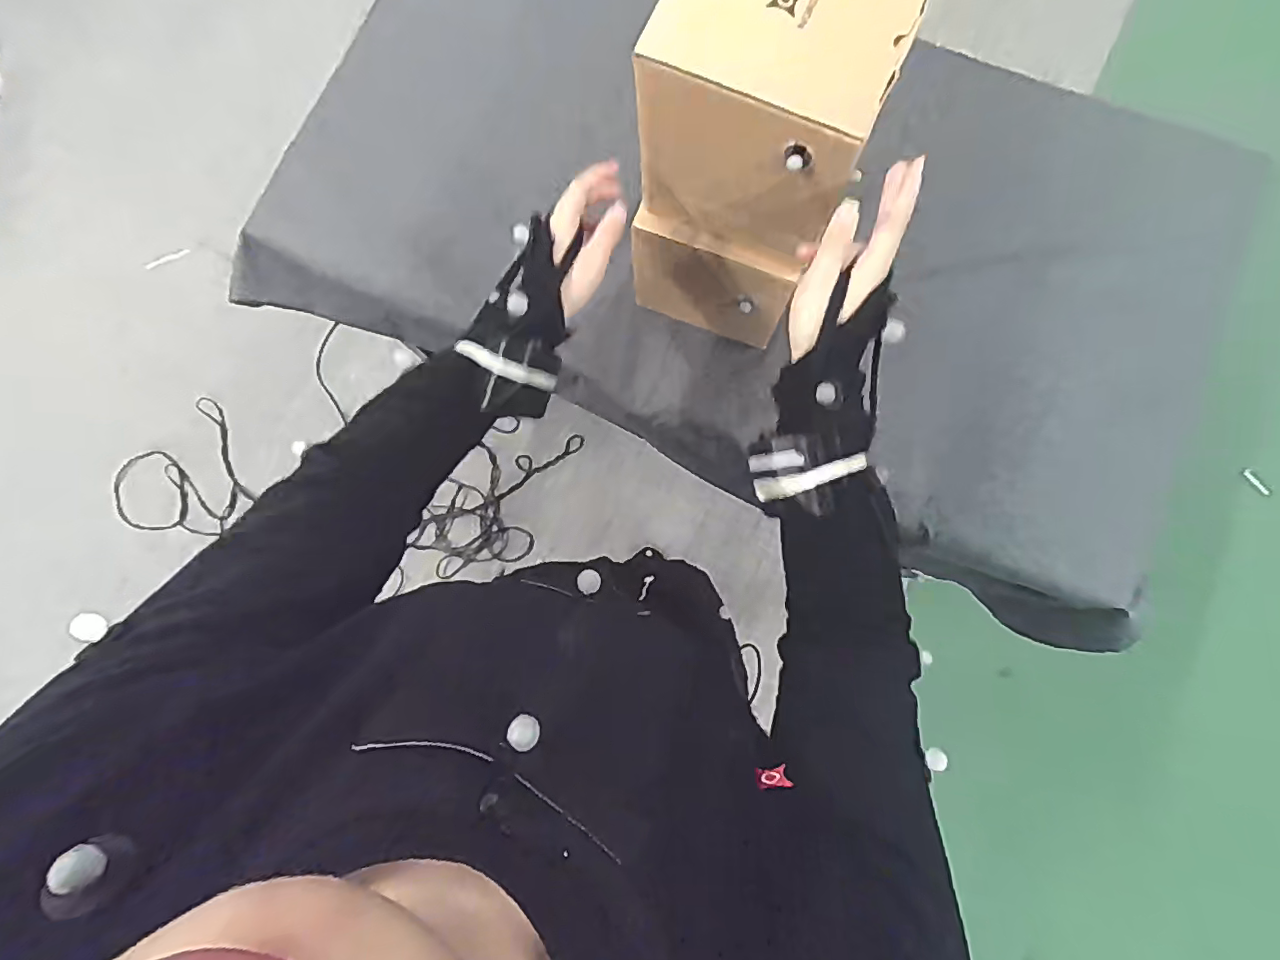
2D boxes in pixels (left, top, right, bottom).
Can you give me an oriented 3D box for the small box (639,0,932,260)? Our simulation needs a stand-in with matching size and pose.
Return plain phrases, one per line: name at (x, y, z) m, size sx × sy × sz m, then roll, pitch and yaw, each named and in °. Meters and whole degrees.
small box at (0.111, -0.322, 0.461) m, size 0.179 × 0.176 × 0.168 m, roll 24°, pitch 82°, yaw 4°
